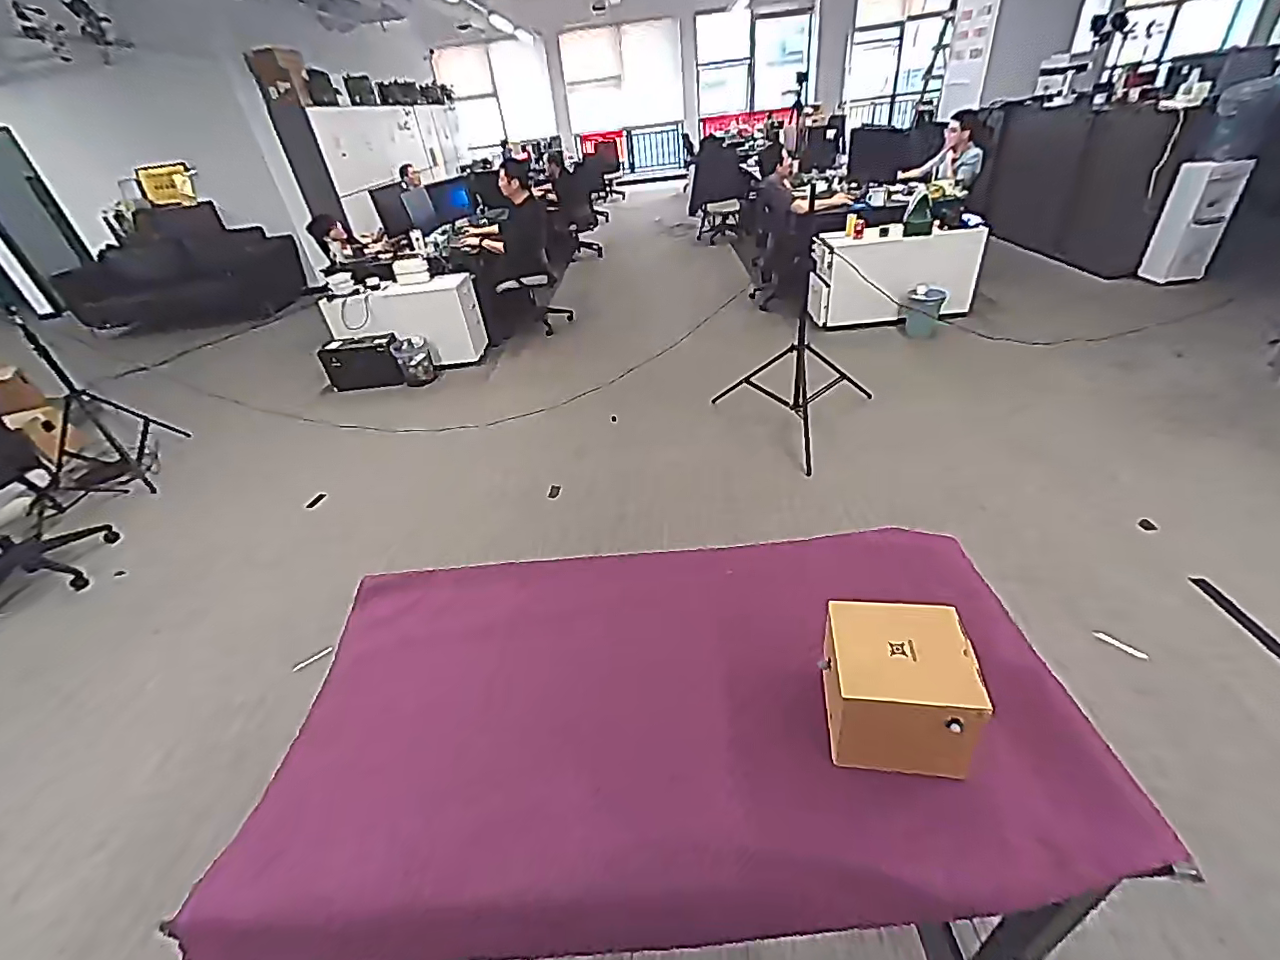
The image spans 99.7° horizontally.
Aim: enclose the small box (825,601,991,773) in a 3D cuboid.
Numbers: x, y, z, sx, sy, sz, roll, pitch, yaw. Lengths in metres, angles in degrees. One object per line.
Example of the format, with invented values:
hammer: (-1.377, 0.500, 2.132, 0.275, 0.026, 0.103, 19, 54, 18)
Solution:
small box: (0.364, 0.294, 0.775, 0.179, 0.176, 0.168, 0, 35, 12)
